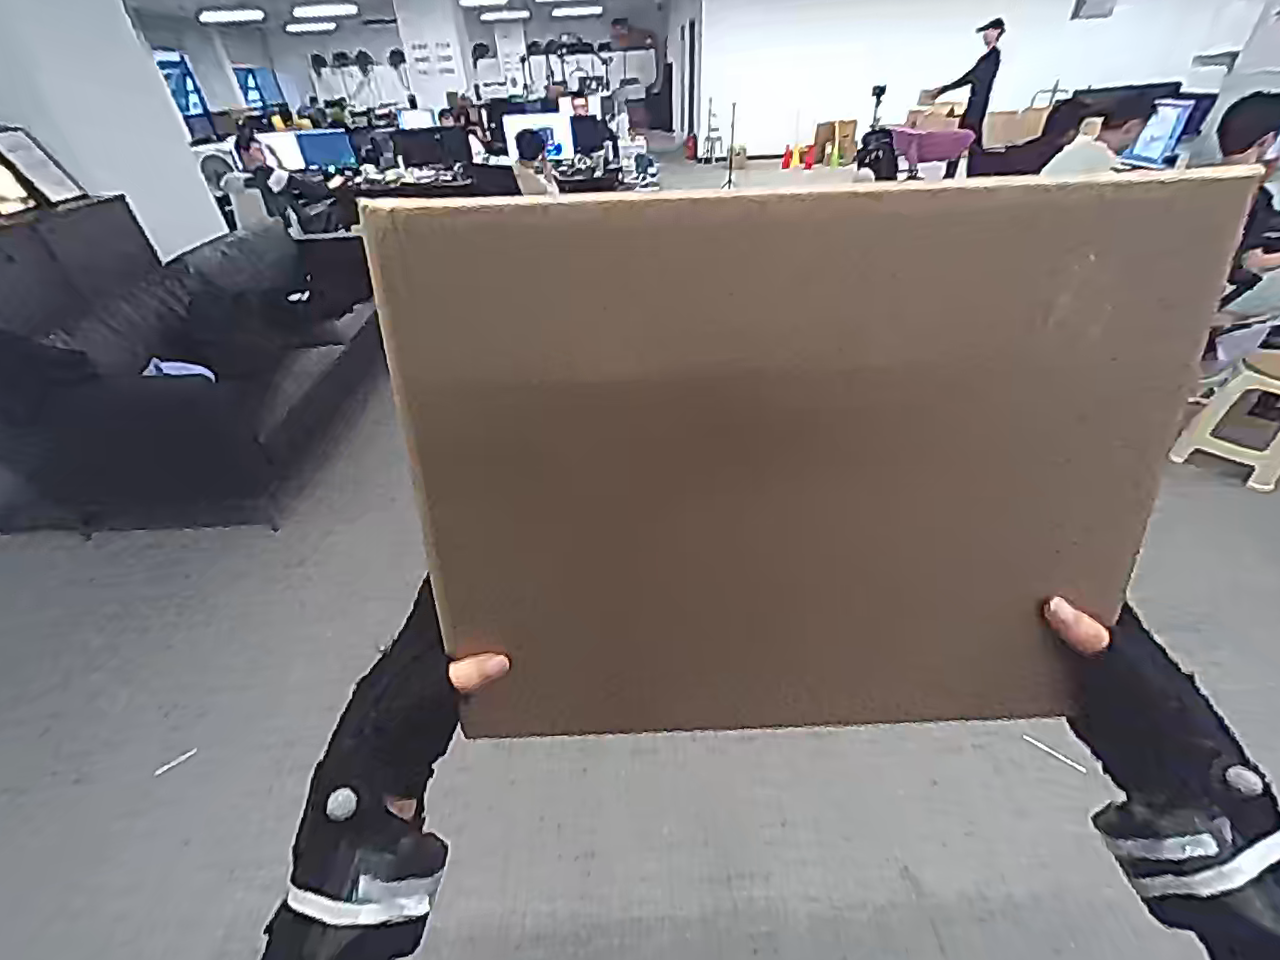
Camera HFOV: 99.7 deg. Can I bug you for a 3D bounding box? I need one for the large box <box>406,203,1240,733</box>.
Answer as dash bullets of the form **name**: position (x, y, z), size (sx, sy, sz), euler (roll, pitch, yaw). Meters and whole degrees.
- **large box**: position (0.084, -0.034, 0.438), size (0.408, 0.320, 0.320), euler (-1, 22, -2)
